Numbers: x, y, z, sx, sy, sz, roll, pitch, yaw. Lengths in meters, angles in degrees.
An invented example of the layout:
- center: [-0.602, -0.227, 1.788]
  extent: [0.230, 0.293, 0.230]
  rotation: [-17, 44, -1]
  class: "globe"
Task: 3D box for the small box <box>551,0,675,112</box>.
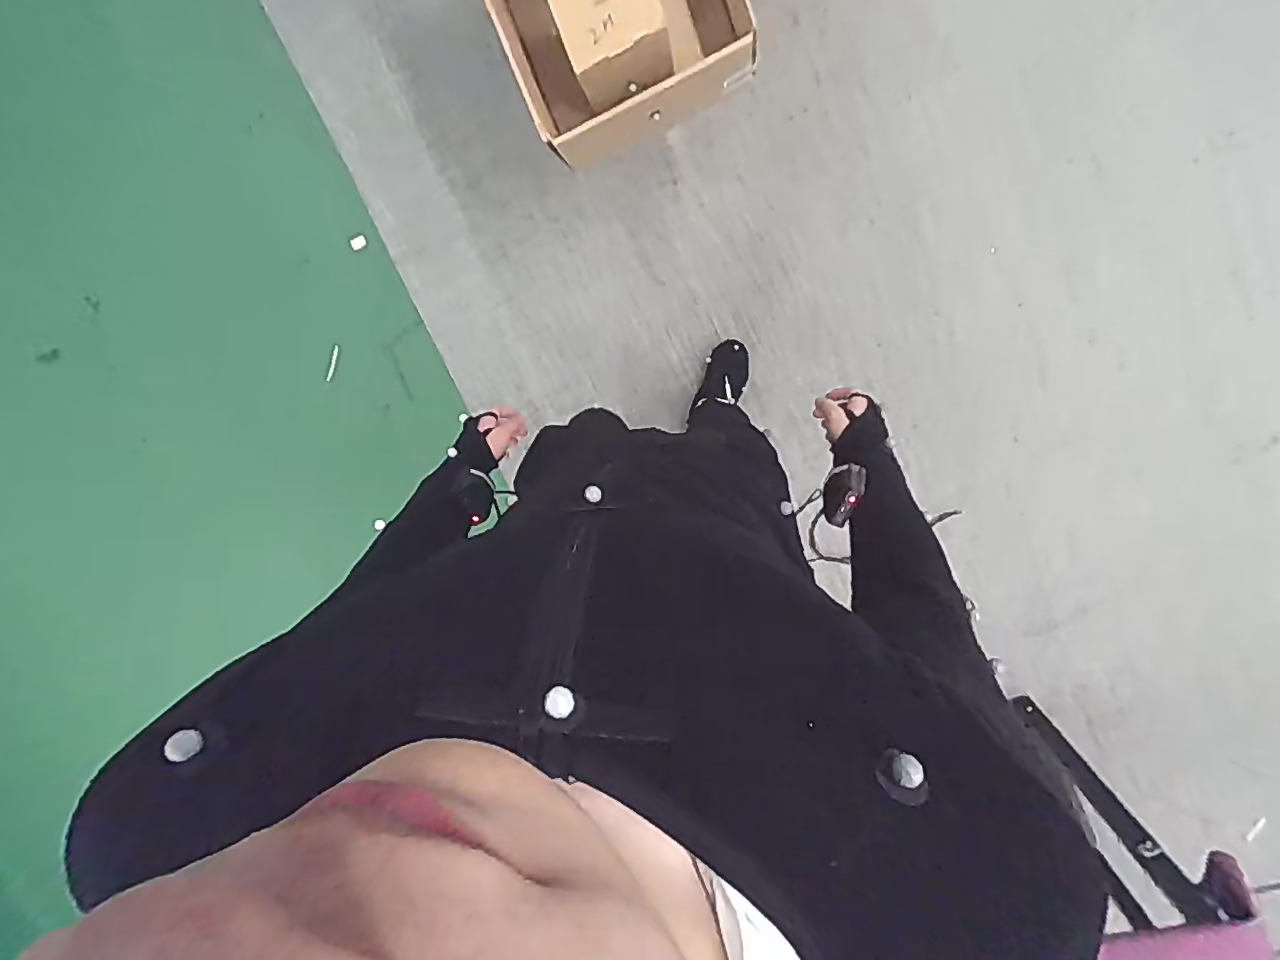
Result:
- center: [-0.048, -0.789, 0.933]
  extent: [0.168, 0.176, 0.179]
  rotation: [-20, 99, 13]
  class: "small box"
